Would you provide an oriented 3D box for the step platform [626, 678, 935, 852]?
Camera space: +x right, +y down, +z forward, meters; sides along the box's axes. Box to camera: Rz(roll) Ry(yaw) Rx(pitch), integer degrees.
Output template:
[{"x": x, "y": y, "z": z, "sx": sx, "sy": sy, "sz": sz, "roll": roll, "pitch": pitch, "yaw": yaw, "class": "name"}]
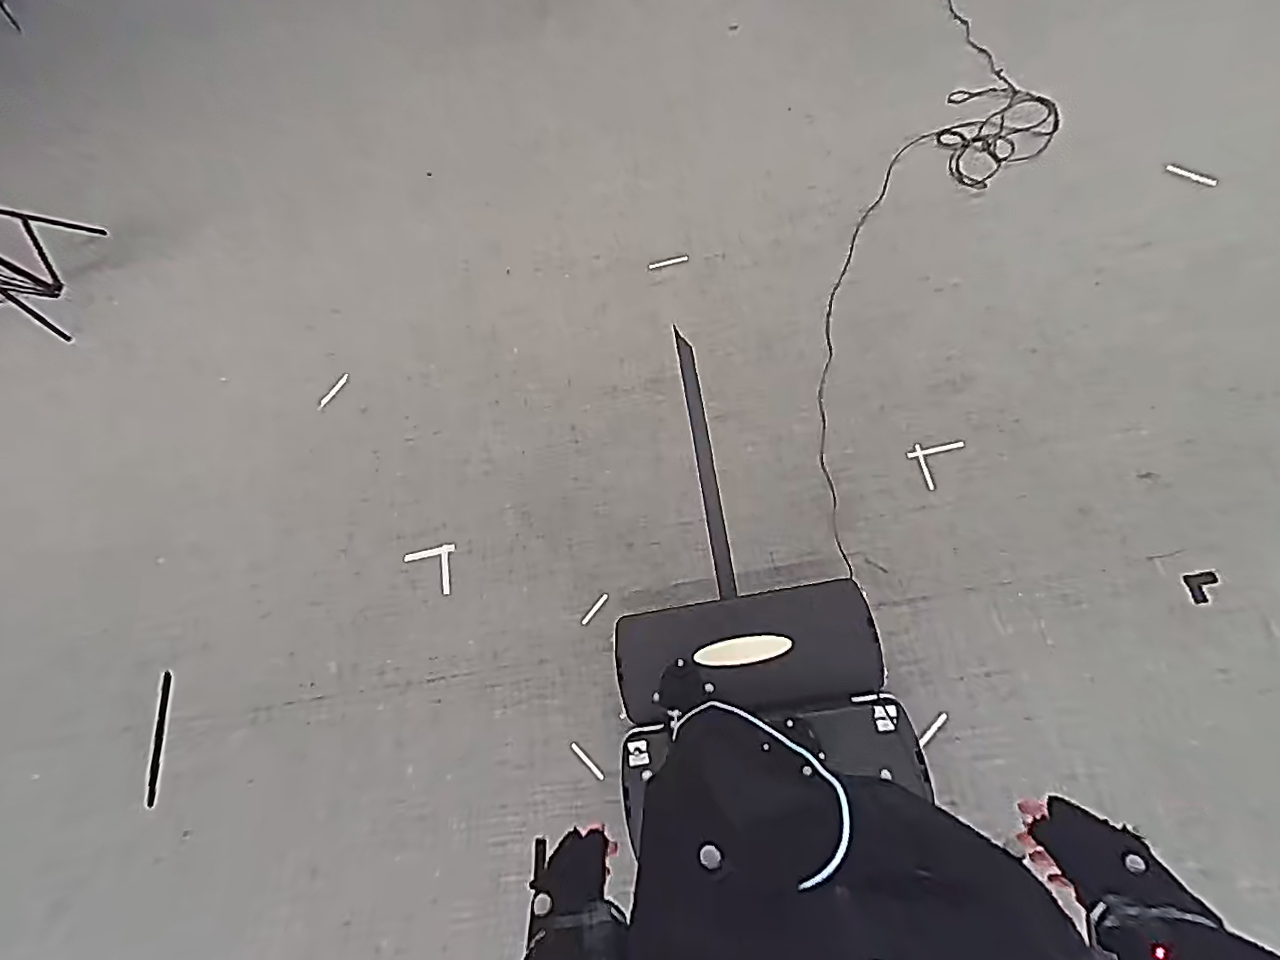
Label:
[{"x": 0.309, "y": 0.668, "z": 1.283, "sx": 0.684, "sy": 0.204, "sz": 0.286, "roll": -13, "pitch": 69, "yaw": 8, "class": "step platform"}]
